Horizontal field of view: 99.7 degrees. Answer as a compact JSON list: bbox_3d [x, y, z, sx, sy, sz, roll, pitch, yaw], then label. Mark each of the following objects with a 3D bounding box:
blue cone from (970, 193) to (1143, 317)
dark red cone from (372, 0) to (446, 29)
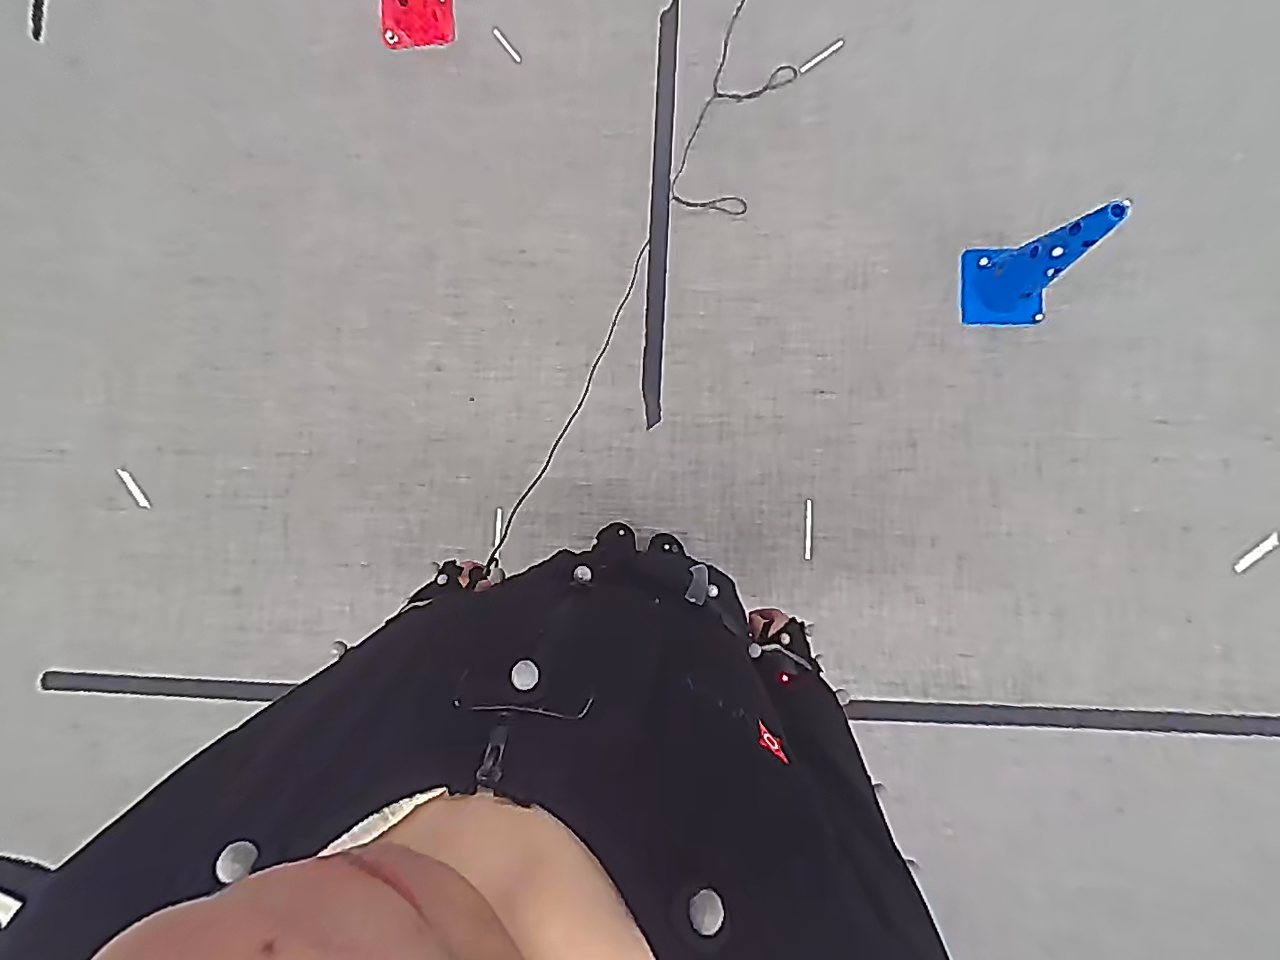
[{"bbox_3d":[0.928,-0.515,1.205,0.192,0.380,0.193,3,87,2],"label":"blue cone"},{"bbox_3d":[-0.632,-1.326,1.299,0.201,0.394,0.202,-6,86,1],"label":"dark red cone"}]
